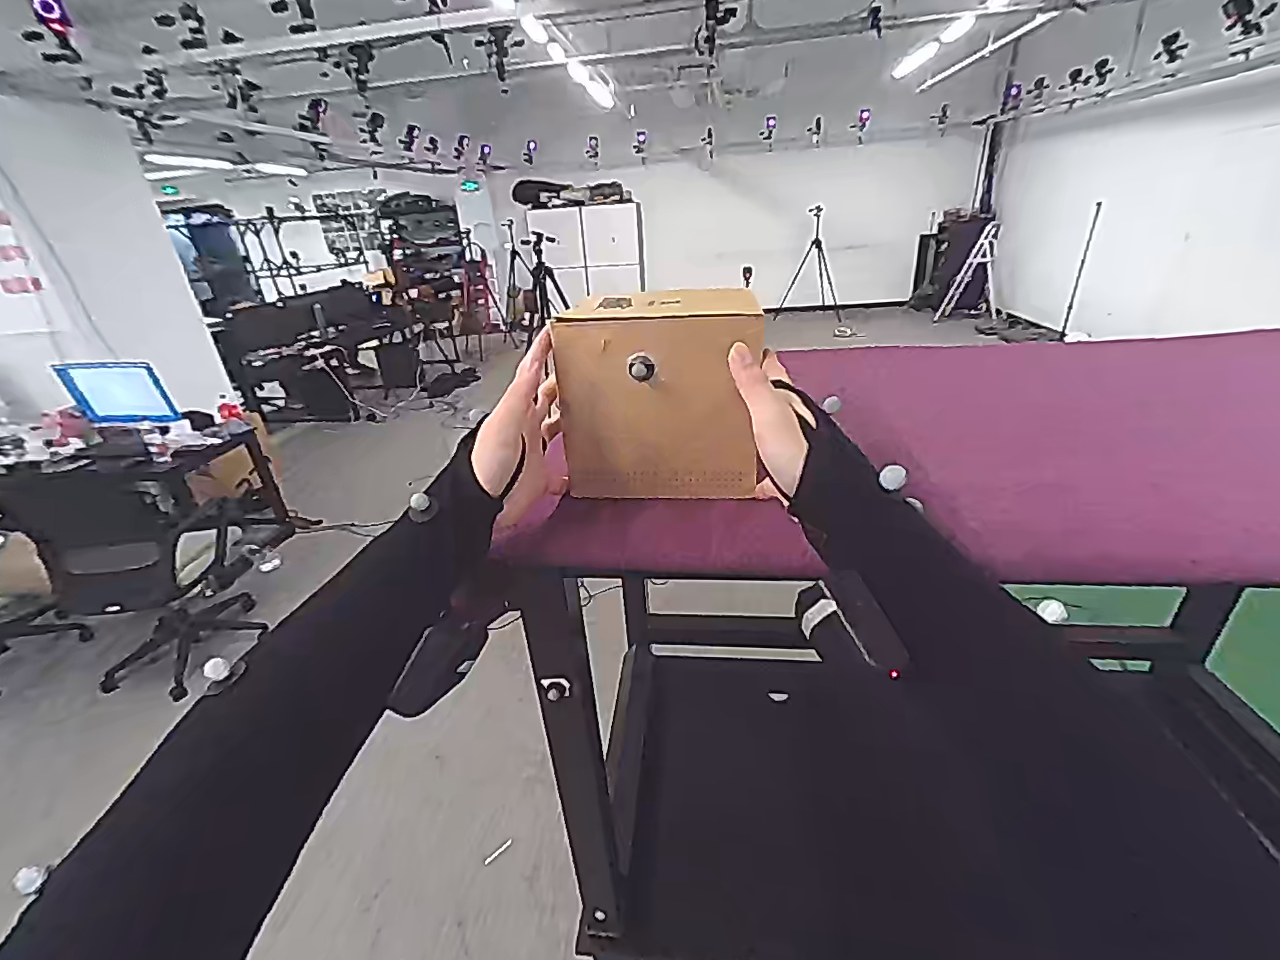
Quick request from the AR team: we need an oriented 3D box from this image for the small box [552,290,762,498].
[{"bbox_3d":[0.026,-0.090,0.540,0.179,0.176,0.168,1,26,8],"label":"small box"}]
